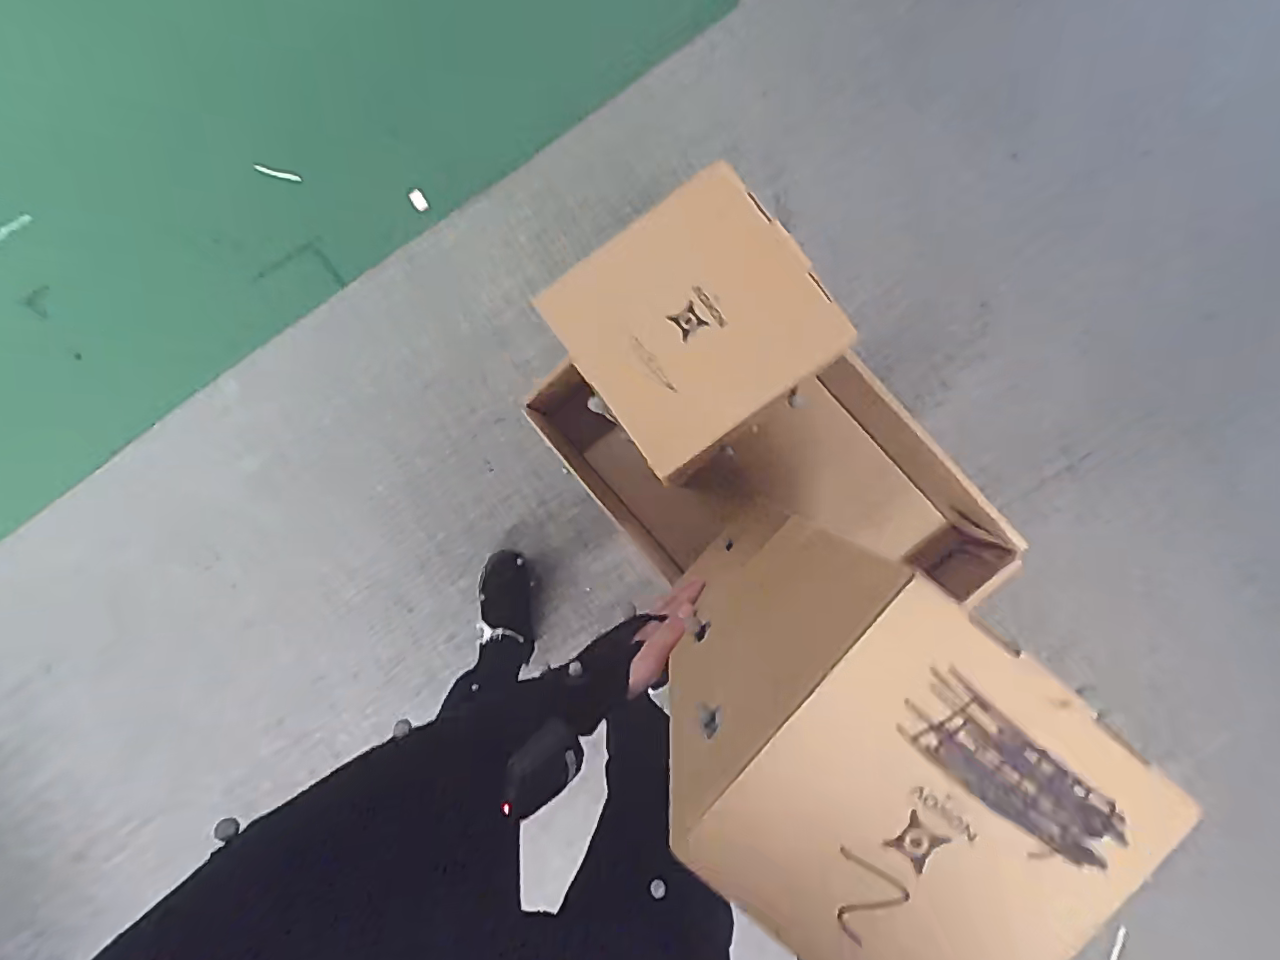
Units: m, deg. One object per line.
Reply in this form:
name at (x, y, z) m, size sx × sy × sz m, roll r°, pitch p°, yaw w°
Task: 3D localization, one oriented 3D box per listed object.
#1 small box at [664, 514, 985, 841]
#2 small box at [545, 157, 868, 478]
small box at (0.139, 0.150, 0.476) m, size 0.168 × 0.176 × 0.179 m, roll 41°, pitch 94°, yaw 0°
small box at (0.049, -0.115, 0.461) m, size 0.179 × 0.176 × 0.168 m, roll -35°, pitch 86°, yaw 2°
